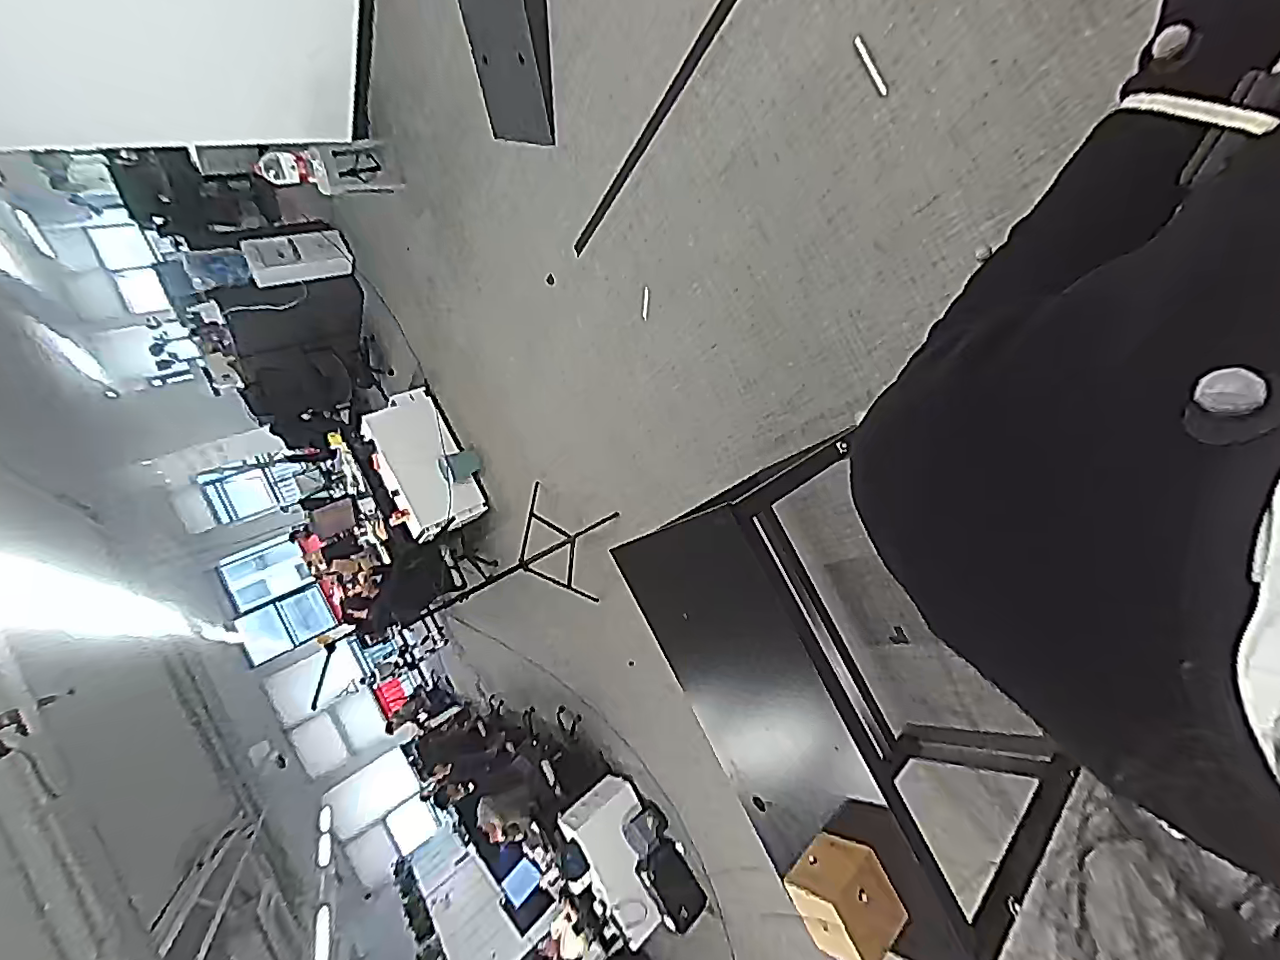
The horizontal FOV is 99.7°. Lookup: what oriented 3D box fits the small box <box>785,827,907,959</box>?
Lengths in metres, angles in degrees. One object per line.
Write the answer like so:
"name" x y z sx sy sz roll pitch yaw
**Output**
"small box" 0.487 0.970 1.280 0.179 0.176 0.168 61 148 3
